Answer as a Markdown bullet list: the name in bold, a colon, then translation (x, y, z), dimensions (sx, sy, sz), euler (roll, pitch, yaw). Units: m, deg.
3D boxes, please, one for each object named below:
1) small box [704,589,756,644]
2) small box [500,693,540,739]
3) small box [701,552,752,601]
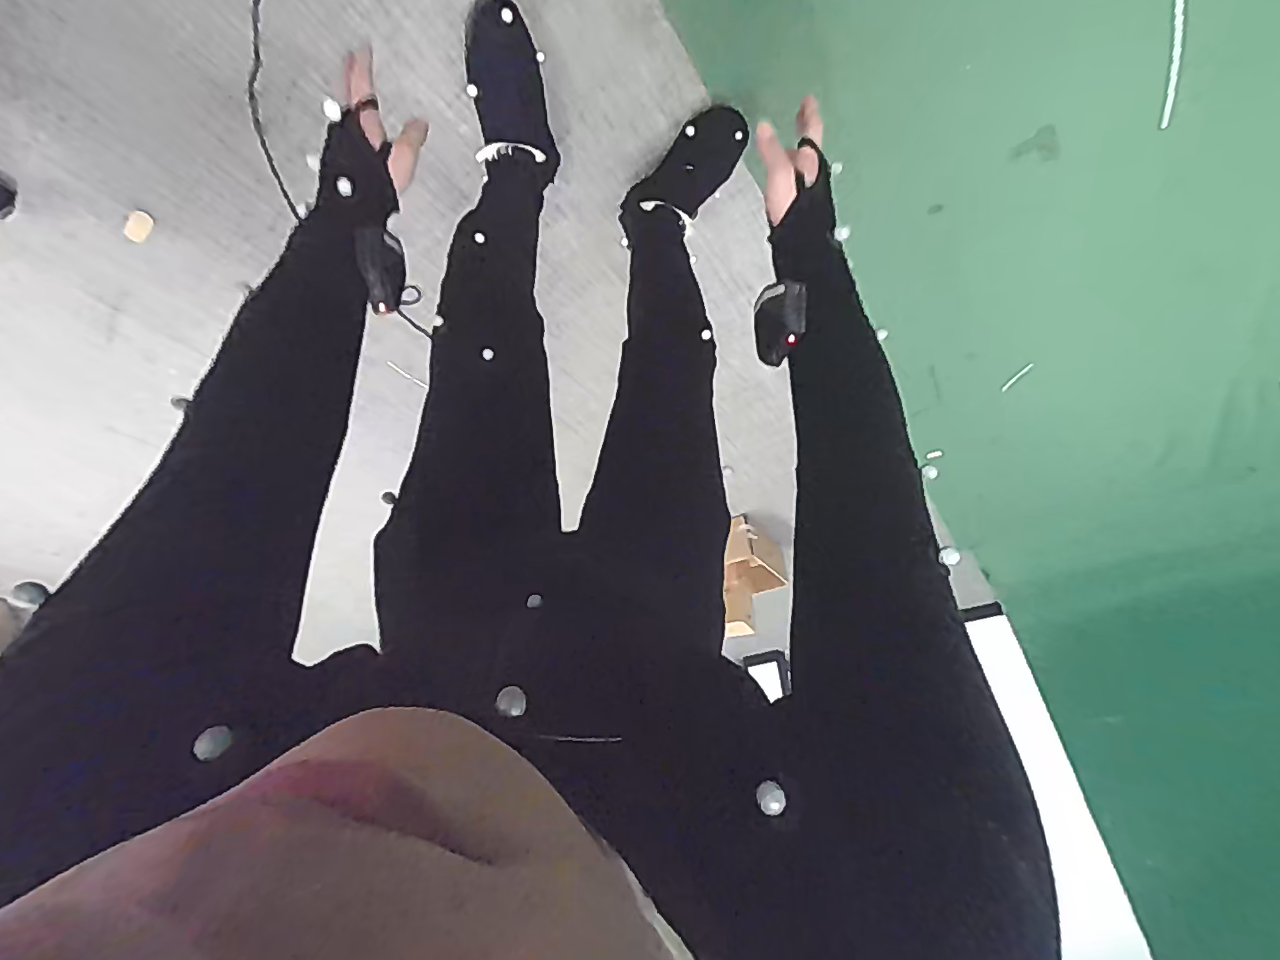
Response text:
- **small box**: translation (0.375, 0.567, 2.244), dimensions (0.168, 0.176, 0.179), euler (-15, 143, 23)
- **small box**: translation (-0.549, 1.082, 2.478), dimensions (0.168, 0.176, 0.179), euler (3, 146, -8)
- **small box**: translation (0.374, 0.427, 2.329), dimensions (0.168, 0.176, 0.179), euler (-17, 142, 26)
